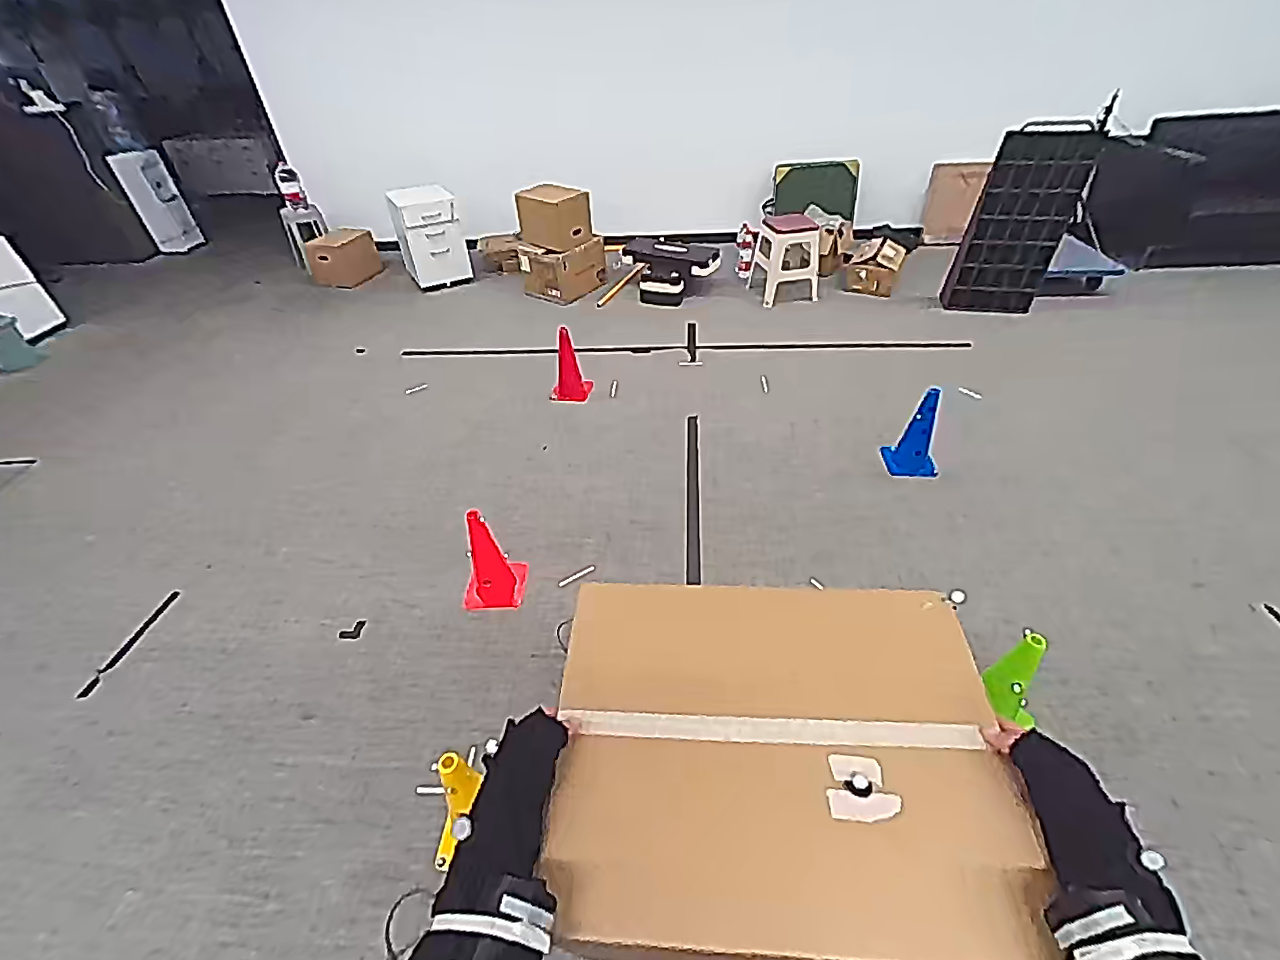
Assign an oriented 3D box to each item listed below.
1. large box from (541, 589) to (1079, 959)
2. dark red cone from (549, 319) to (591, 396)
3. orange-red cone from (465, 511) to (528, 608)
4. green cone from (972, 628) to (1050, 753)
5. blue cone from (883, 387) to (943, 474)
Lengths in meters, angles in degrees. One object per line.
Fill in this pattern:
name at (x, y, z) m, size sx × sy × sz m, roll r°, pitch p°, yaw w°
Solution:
large box at (0.133, 0.340, 0.608) m, size 0.408 × 0.320 × 0.320 m, roll 1°, pitch 46°, yaw 5°
dark red cone at (-0.372, -0.624, 2.753) m, size 0.201 × 0.394 × 0.202 m, roll 5°, pitch 41°, yaw 8°
orange-red cone at (-0.512, 0.240, 1.791) m, size 0.198 × 0.360 × 0.199 m, roll -2°, pitch 42°, yaw 3°
green cone at (0.947, 0.505, 1.386) m, size 0.202 × 0.368 × 0.200 m, roll -24°, pitch 46°, yaw -25°
blue cone at (1.162, -0.212, 2.235) m, size 0.192 × 0.380 × 0.193 m, roll 3°, pitch 41°, yaw 6°
